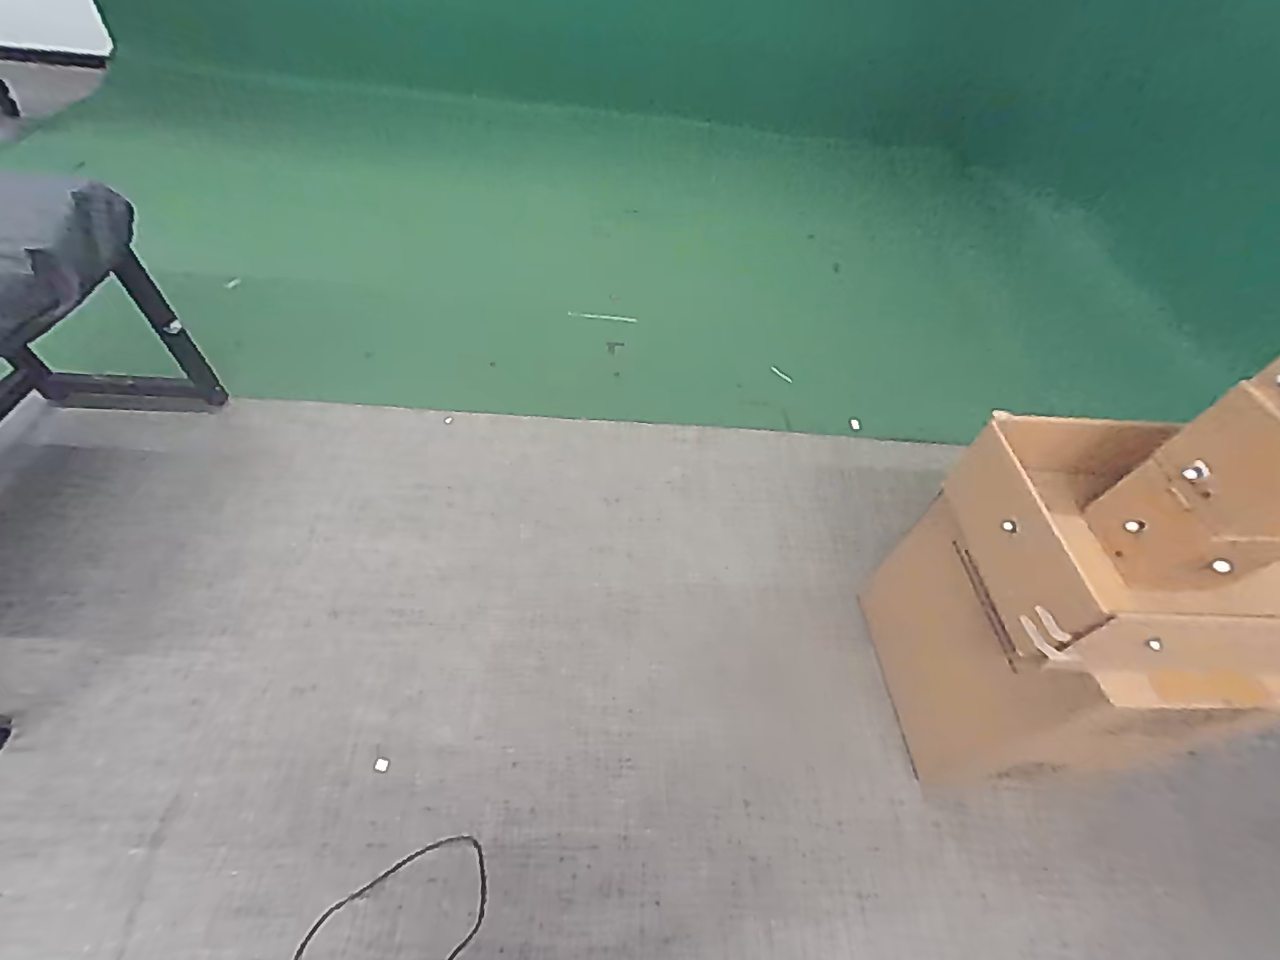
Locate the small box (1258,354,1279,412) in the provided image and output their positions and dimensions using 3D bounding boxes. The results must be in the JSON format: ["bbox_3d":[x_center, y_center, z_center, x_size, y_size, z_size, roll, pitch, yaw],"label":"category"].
[{"bbox_3d":[0.975,-0.129,0.689,0.179,0.176,0.168,4,51,-6],"label":"small box"}]

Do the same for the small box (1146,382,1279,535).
[{"bbox_3d":[0.948,-0.029,0.817,0.179,0.176,0.168,0,51,-6],"label":"small box"}]
